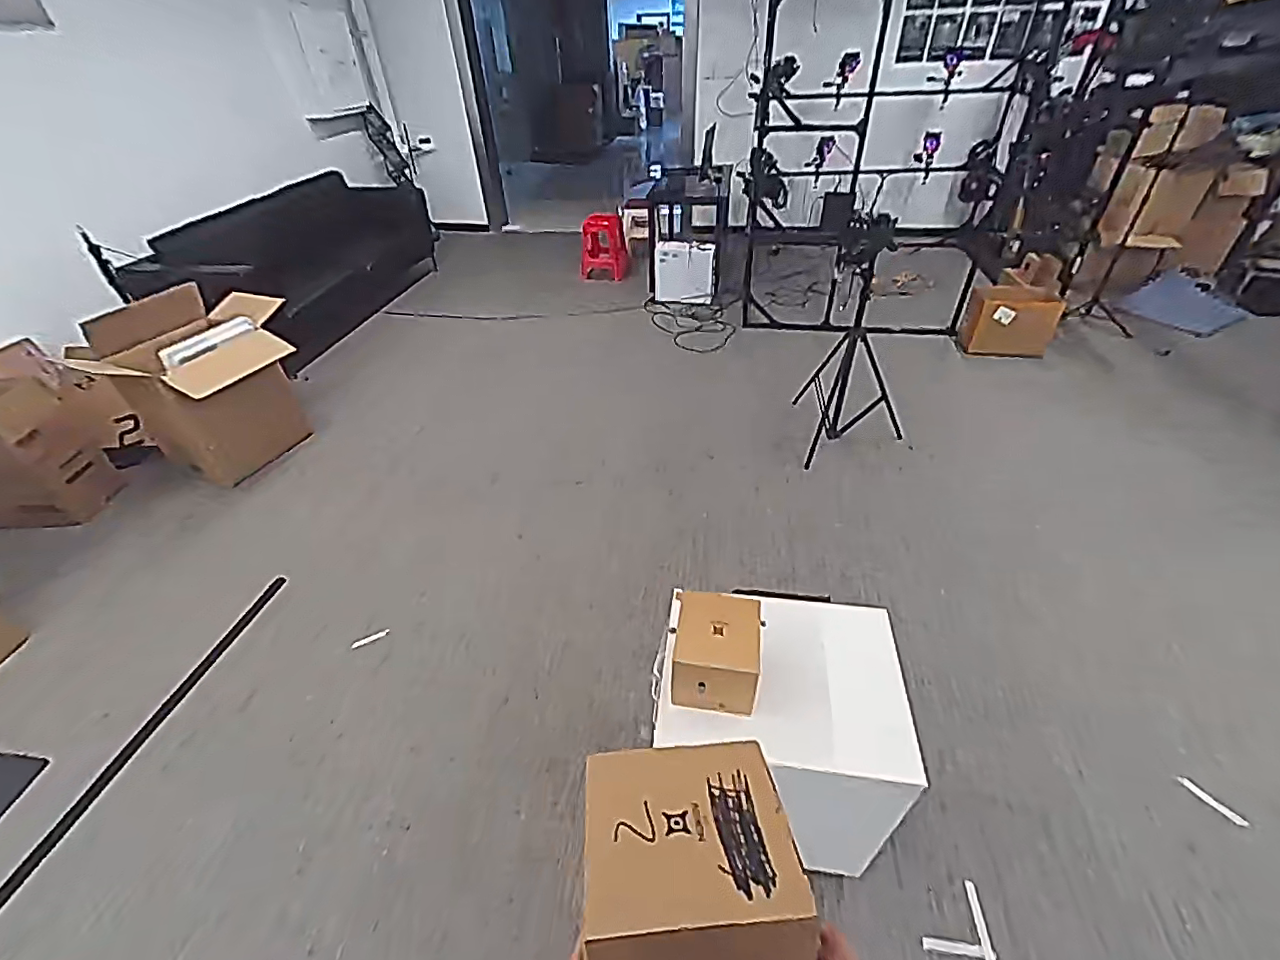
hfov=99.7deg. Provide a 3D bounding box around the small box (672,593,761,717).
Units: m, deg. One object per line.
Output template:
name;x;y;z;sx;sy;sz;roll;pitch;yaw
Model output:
small box;0.158;0.361;1.114;0.168;0.176;0.179;5;39;8
